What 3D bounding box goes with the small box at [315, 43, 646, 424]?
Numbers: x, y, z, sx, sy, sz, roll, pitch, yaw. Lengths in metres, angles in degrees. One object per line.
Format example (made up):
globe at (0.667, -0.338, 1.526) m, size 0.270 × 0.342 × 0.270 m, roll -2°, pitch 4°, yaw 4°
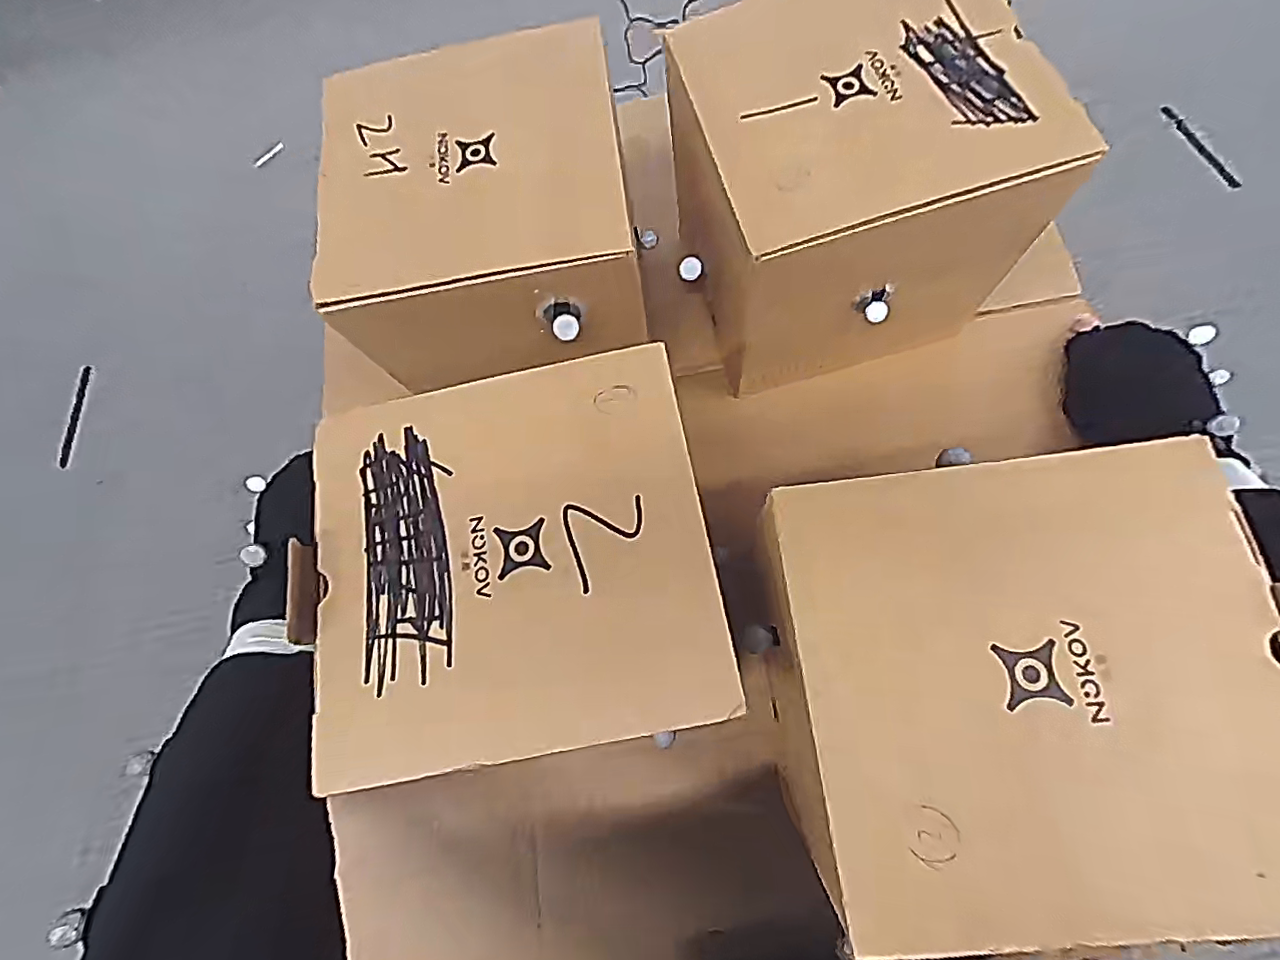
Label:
small box at (-0.092, -0.153, 0.388) m, size 0.179 × 0.176 × 0.168 m, roll -8°, pitch 73°, yaw 5°
